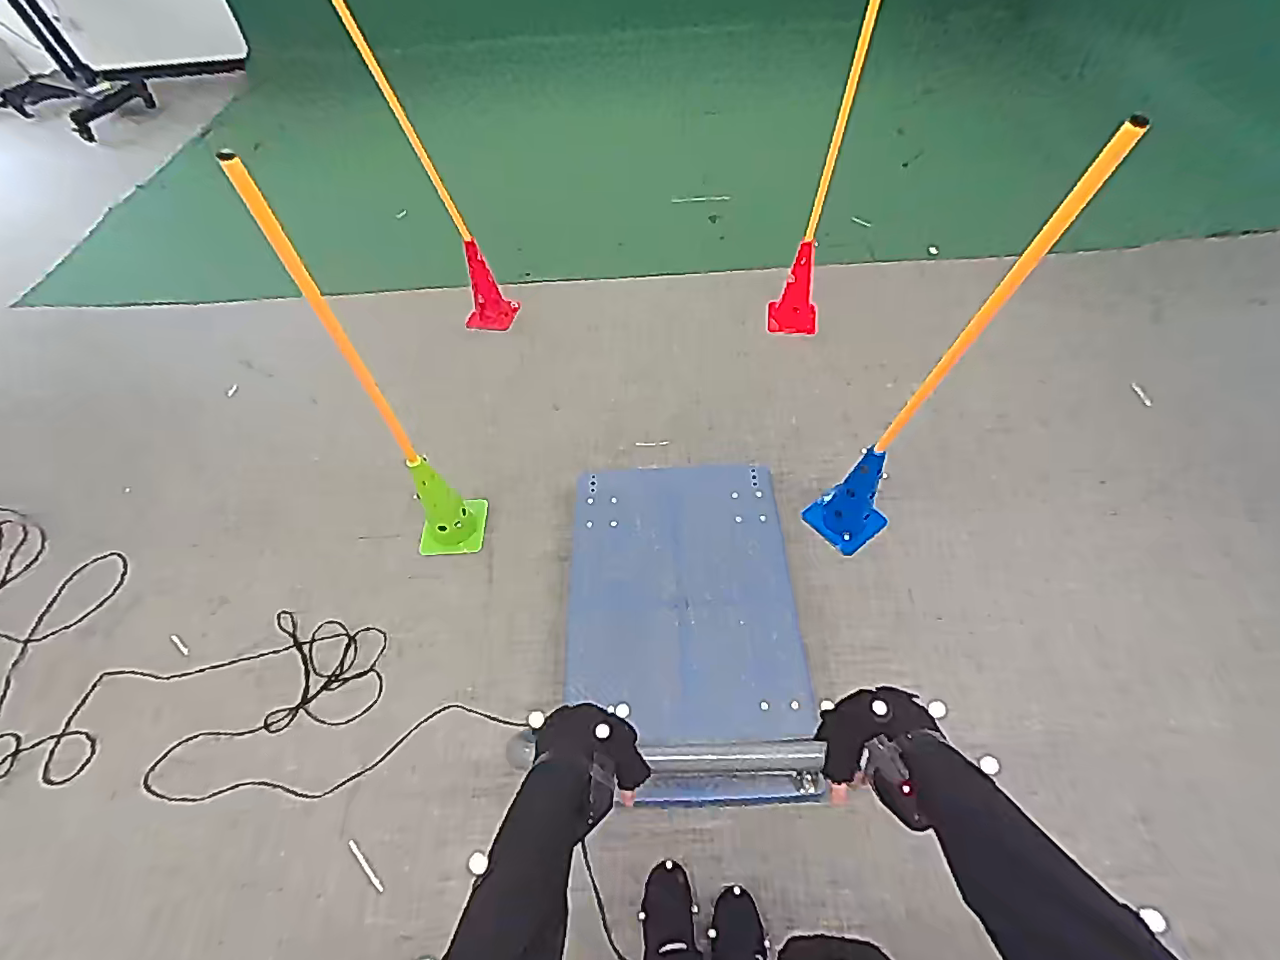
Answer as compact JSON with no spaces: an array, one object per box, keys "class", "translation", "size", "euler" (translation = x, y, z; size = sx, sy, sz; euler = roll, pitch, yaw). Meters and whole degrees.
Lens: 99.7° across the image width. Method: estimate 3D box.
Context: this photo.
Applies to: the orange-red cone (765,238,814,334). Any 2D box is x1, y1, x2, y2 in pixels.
[{"class":"orange-red cone","translation":[0.620,-0.780,2.136],"size":[0.198,0.360,0.199],"euler":[6,56,9]}]
